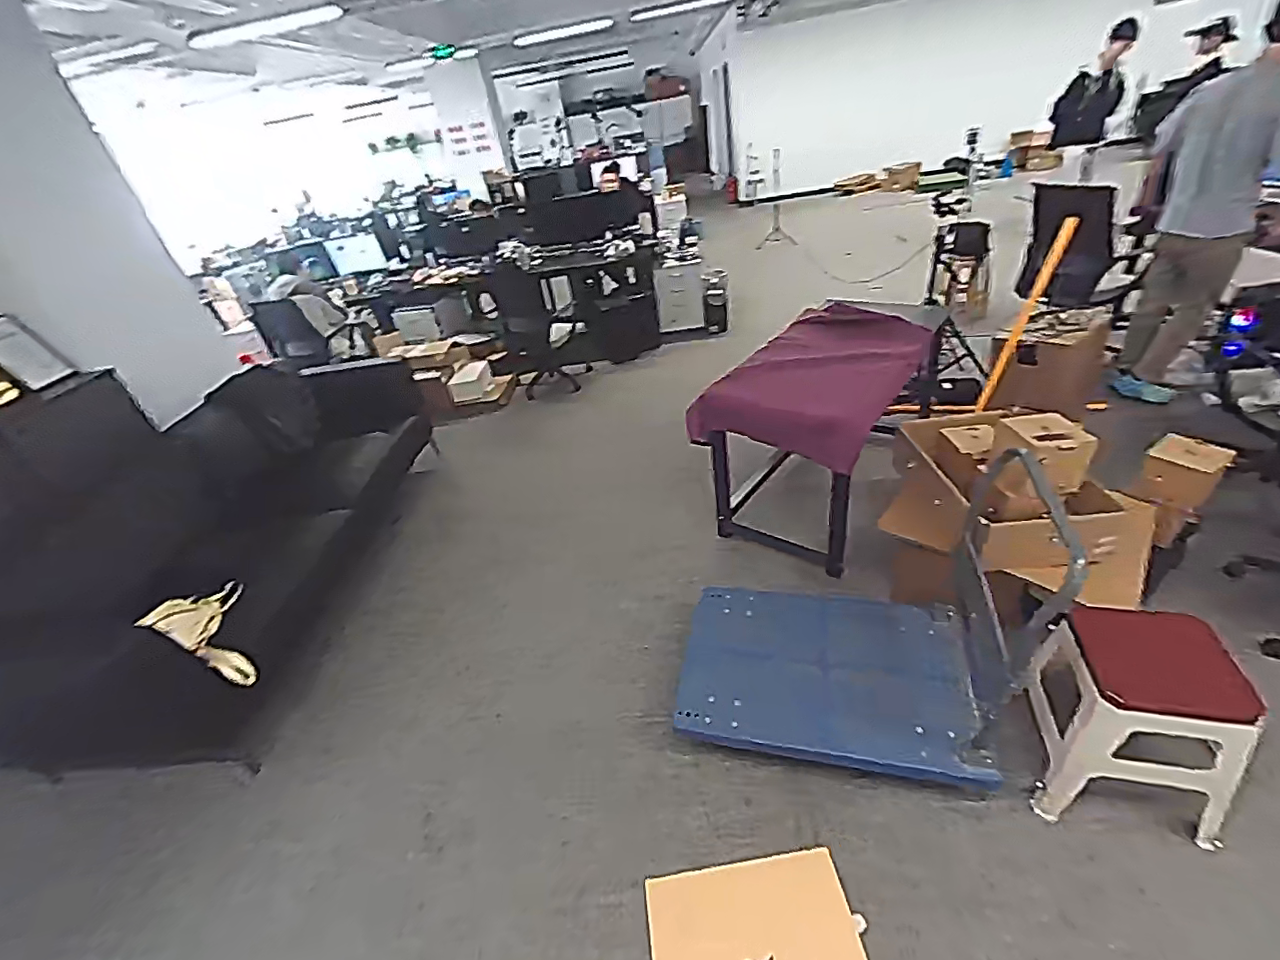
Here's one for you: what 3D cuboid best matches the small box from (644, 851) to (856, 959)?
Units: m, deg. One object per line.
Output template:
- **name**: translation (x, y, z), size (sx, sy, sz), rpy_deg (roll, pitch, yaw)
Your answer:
- **small box**: translation (0.099, 0.458, 0.458), size (0.168, 0.176, 0.179), rpy_deg (-9, 35, 0)
